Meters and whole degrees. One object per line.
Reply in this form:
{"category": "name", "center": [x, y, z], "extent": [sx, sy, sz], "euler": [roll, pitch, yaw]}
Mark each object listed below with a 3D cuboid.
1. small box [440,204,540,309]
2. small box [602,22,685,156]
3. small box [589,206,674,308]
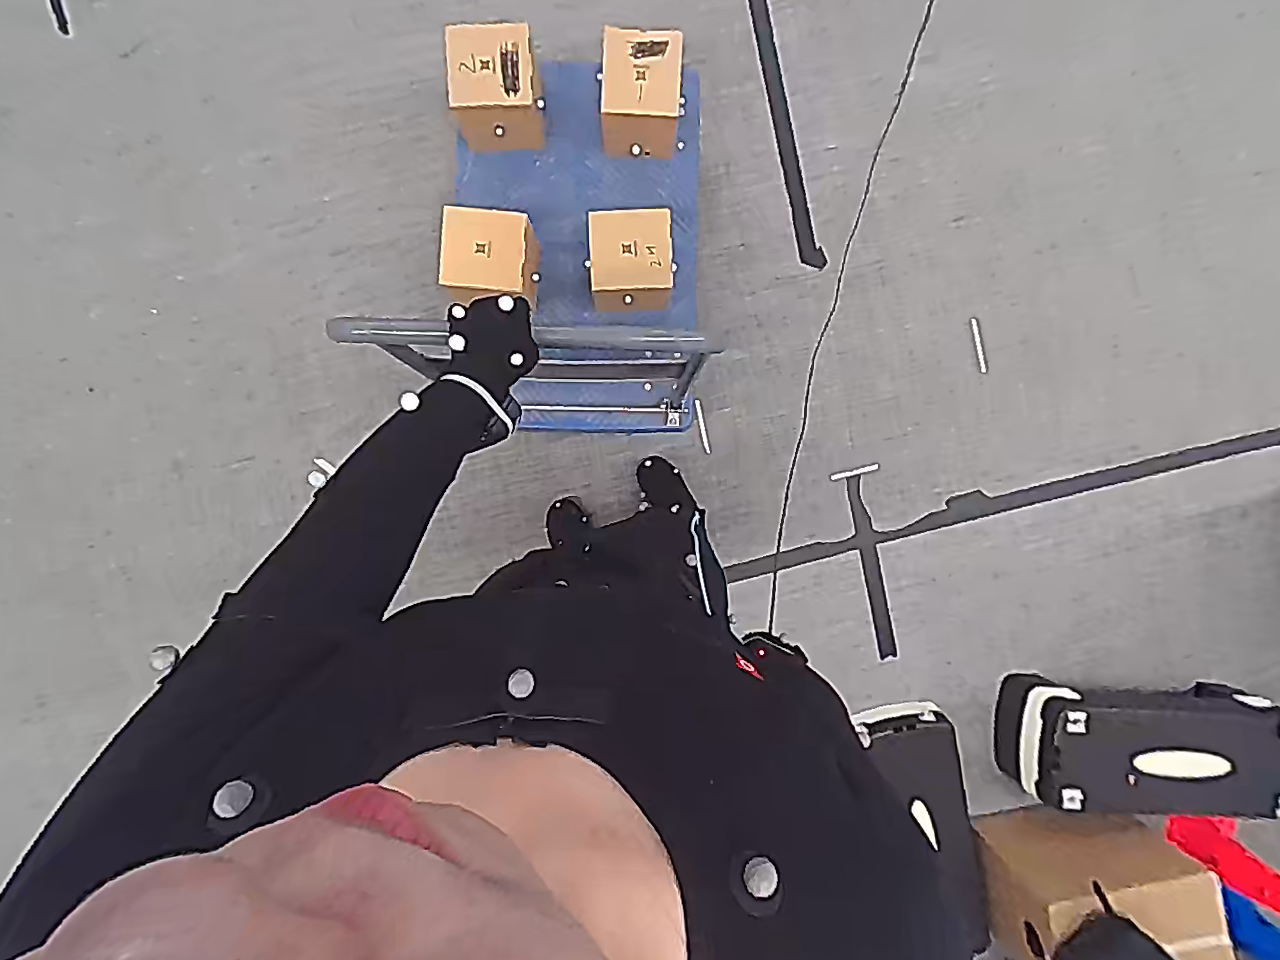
{"category": "small box", "center": [-0.327, -0.489, 1.206], "extent": [0.179, 0.176, 0.168], "euler": [4, 92, -3]}
{"category": "small box", "center": [0.004, -0.857, 1.197], "extent": [0.168, 0.176, 0.179], "euler": [2, 93, -1]}
{"category": "small box", "center": [-0.017, -0.491, 1.211], "extent": [0.179, 0.176, 0.168], "euler": [-3, 92, -1]}
